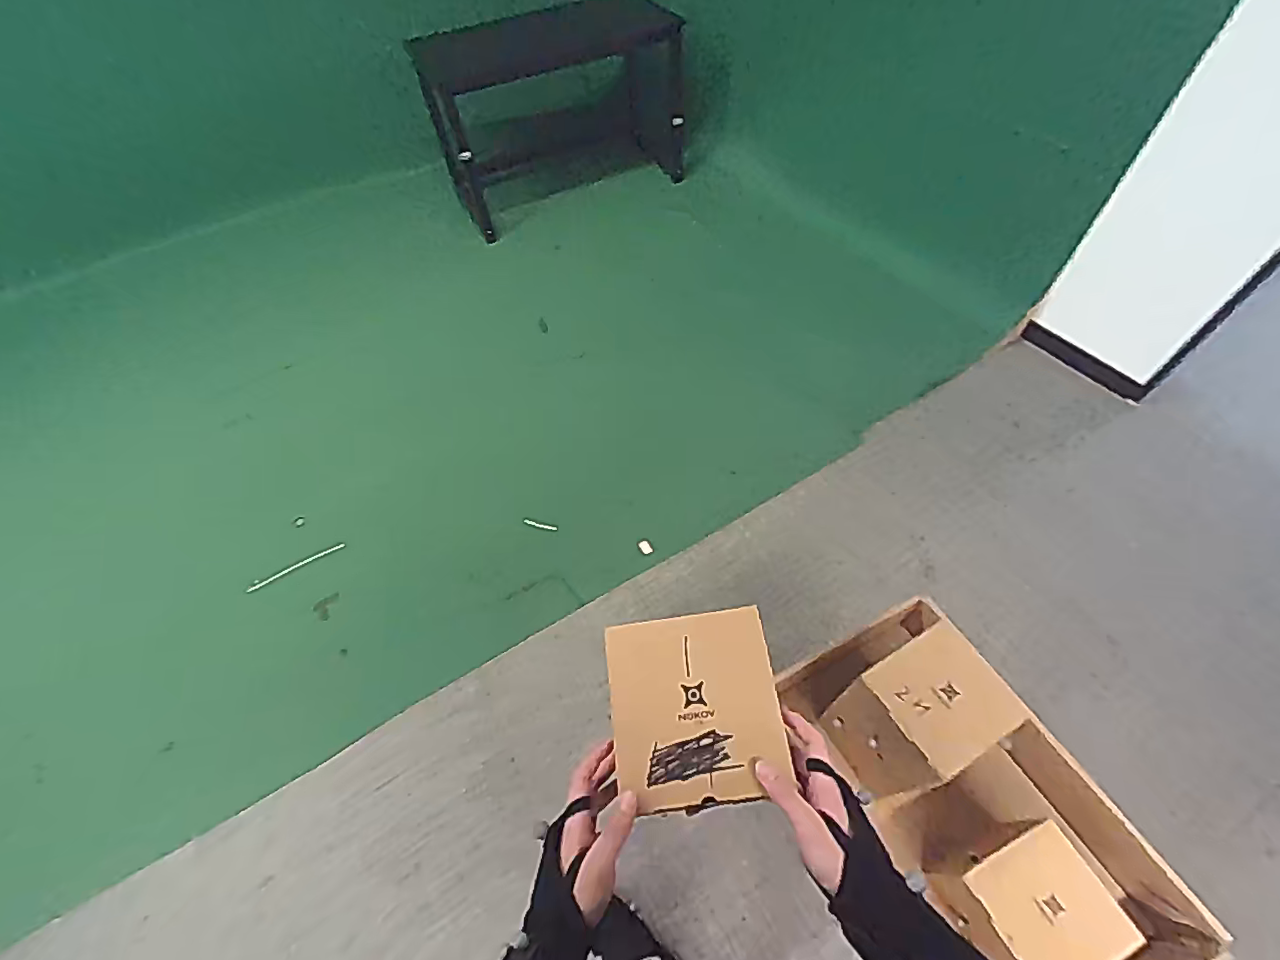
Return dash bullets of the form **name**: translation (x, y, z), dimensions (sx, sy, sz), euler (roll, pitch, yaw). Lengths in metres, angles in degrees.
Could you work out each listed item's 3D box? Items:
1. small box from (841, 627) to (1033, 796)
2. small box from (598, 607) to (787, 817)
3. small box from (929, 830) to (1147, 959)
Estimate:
- **small box**: translation (0.448, 0.366, 0.850), dimensions (0.179, 0.176, 0.168), euler (-26, 57, -14)
- **small box**: translation (0.051, 0.254, 0.594), dimensions (0.168, 0.176, 0.179), euler (-8, 62, 1)
- **small box**: translation (0.590, 0.667, 0.832), dimensions (0.179, 0.176, 0.168), euler (-23, 57, -11)
